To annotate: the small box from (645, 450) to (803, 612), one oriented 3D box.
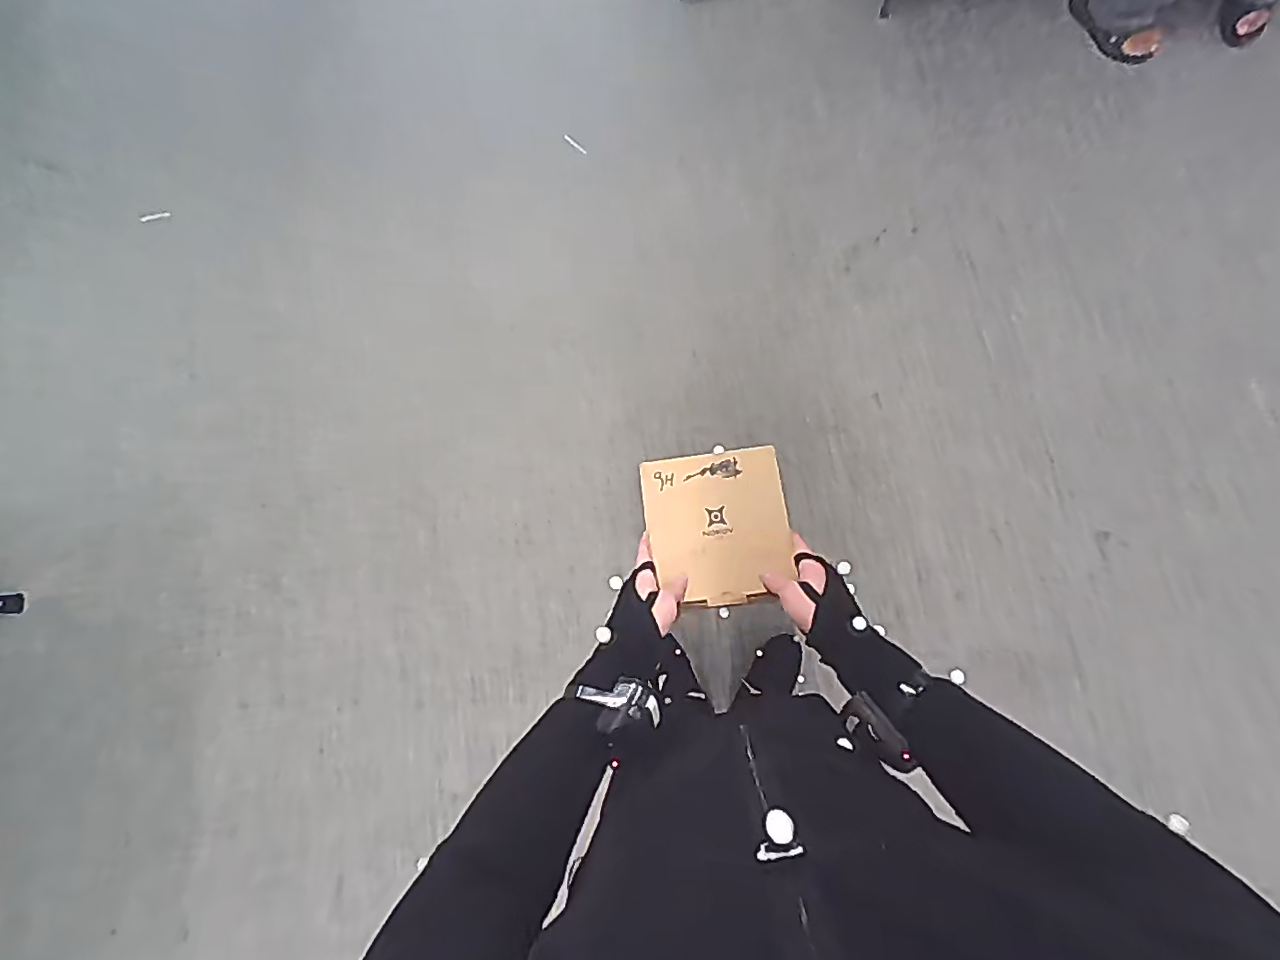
[{"bbox_3d":[0.106,0.077,0.719,0.168,0.176,0.179,-9,74,3],"label":"small box"}]
